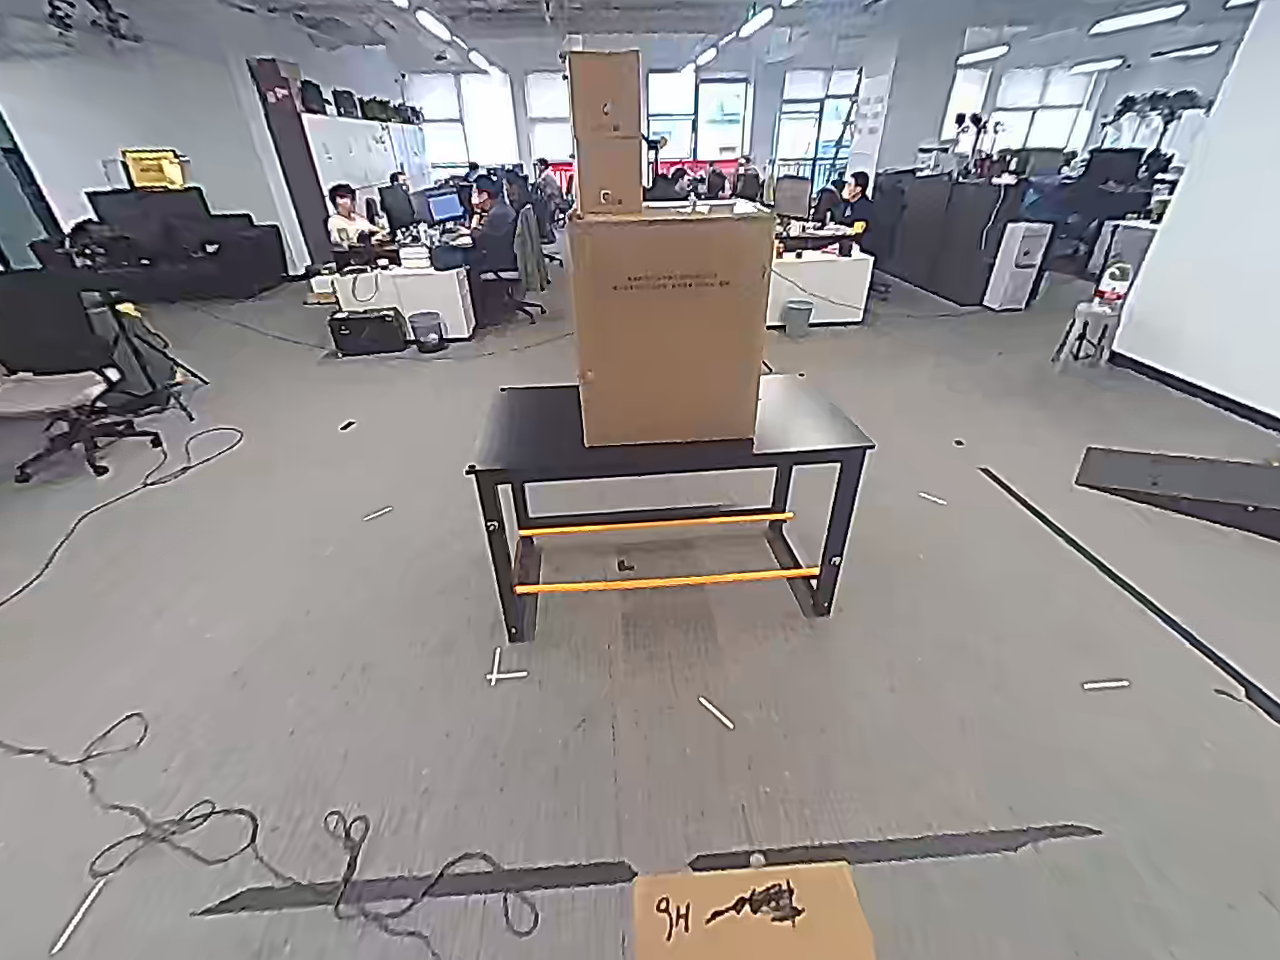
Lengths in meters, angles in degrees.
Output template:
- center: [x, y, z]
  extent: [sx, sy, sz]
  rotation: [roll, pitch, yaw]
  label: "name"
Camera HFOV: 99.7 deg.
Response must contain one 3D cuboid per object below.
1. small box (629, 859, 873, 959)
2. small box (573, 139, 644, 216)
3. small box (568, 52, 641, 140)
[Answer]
- center: [0.079, 0.407, 0.395]
  extent: [0.168, 0.176, 0.179]
  rotation: [-2, 41, -3]
  label: "small box"
- center: [-0.085, -0.798, 1.422]
  extent: [0.168, 0.176, 0.179]
  rotation: [-7, 34, -8]
  label: "small box"
- center: [-0.089, -0.936, 1.330]
  extent: [0.168, 0.176, 0.179]
  rotation: [-5, 33, -6]
  label: "small box"
